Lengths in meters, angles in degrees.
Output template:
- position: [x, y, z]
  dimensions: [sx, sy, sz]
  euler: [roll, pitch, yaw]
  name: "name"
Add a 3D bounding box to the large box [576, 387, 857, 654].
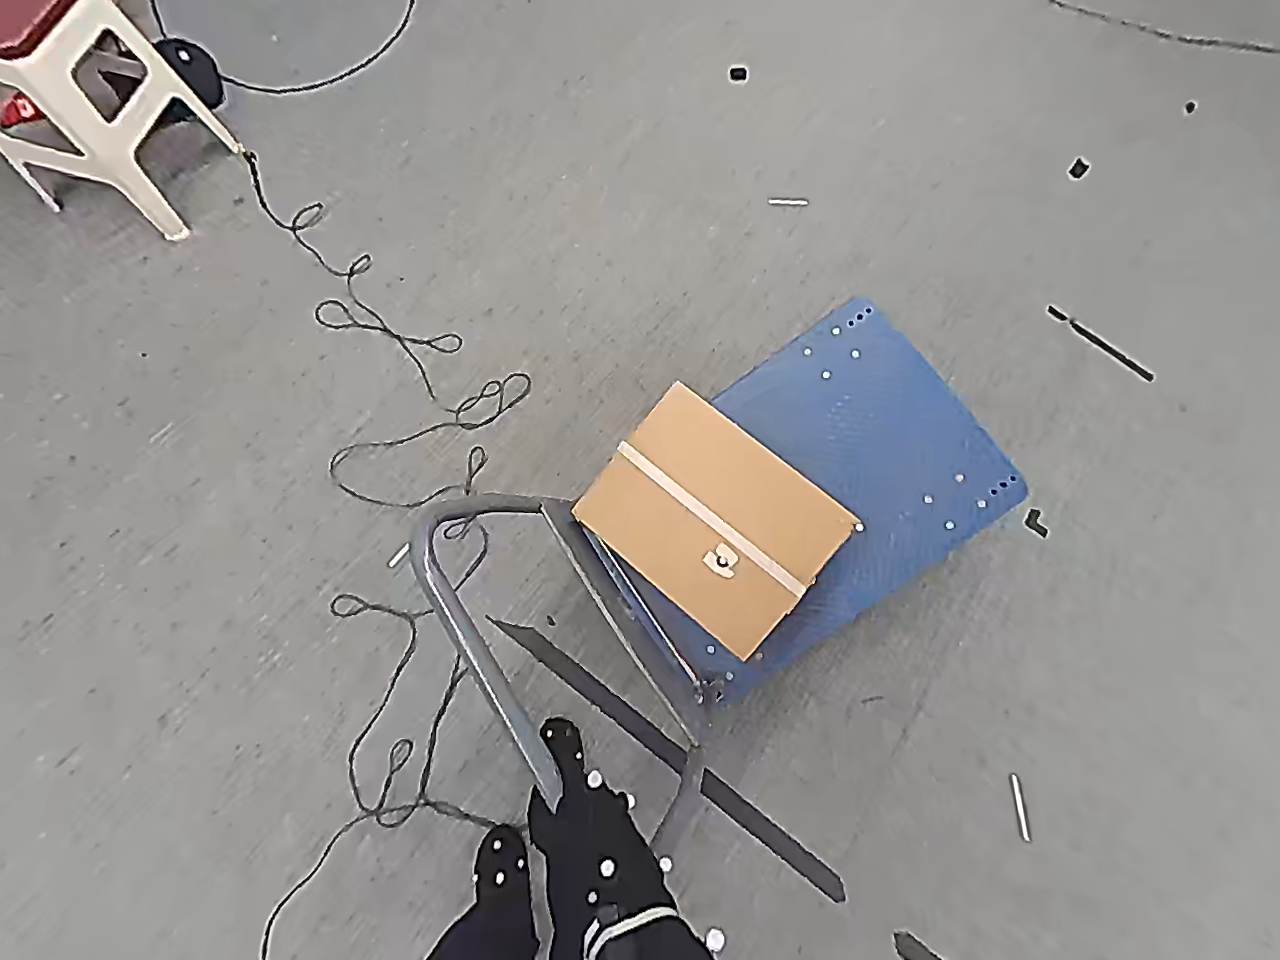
- position: [0.146, 0.078, 1.102]
  dimensions: [0.408, 0.320, 0.320]
  euler: [39, 92, 10]
  name: "large box"
